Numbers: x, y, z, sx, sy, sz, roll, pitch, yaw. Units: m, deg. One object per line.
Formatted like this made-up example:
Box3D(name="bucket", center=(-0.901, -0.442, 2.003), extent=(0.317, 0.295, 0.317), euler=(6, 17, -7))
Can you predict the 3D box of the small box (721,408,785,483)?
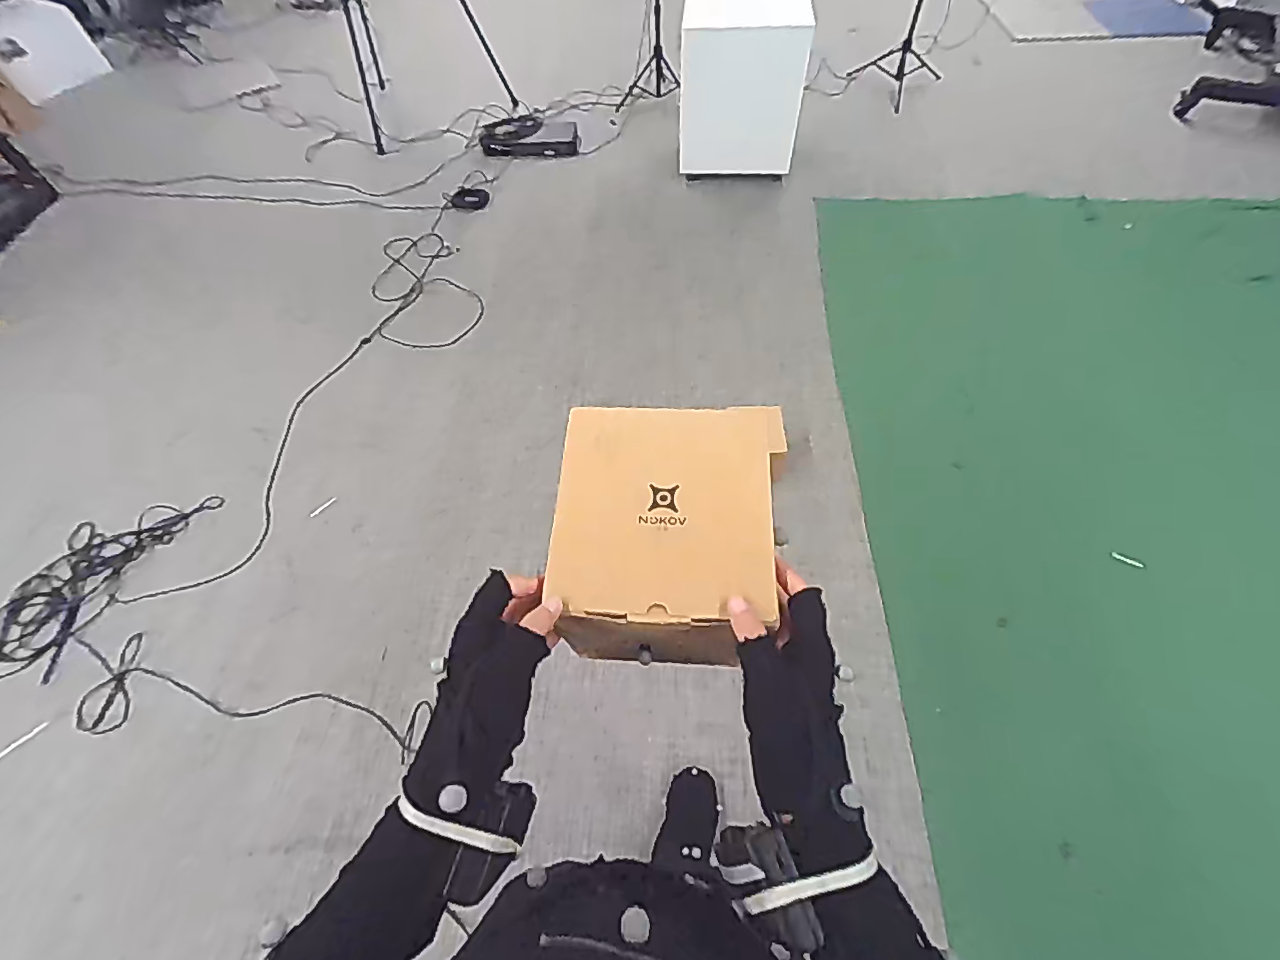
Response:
Box3D(name="small box", center=(0.341, -0.101, 1.659), extent=(0.168, 0.176, 0.179), euler=(0, 57, 3))
